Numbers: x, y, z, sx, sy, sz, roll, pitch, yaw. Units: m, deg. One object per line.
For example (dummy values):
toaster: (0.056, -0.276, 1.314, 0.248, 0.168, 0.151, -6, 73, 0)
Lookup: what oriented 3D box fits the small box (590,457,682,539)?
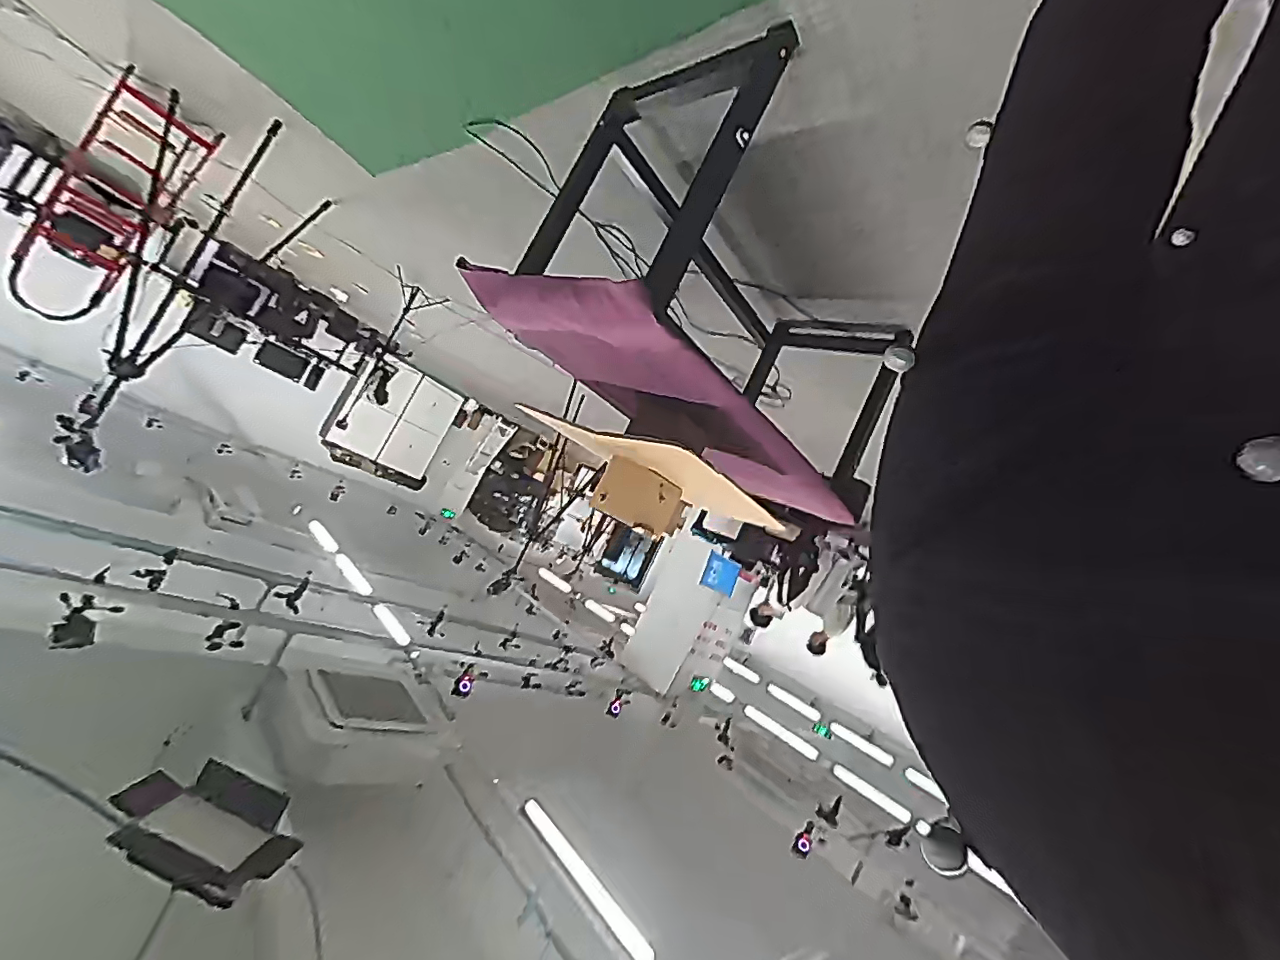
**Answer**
small box: (-0.009, 0.048, 1.600, 0.179, 0.176, 0.168, 22, 173, 42)
